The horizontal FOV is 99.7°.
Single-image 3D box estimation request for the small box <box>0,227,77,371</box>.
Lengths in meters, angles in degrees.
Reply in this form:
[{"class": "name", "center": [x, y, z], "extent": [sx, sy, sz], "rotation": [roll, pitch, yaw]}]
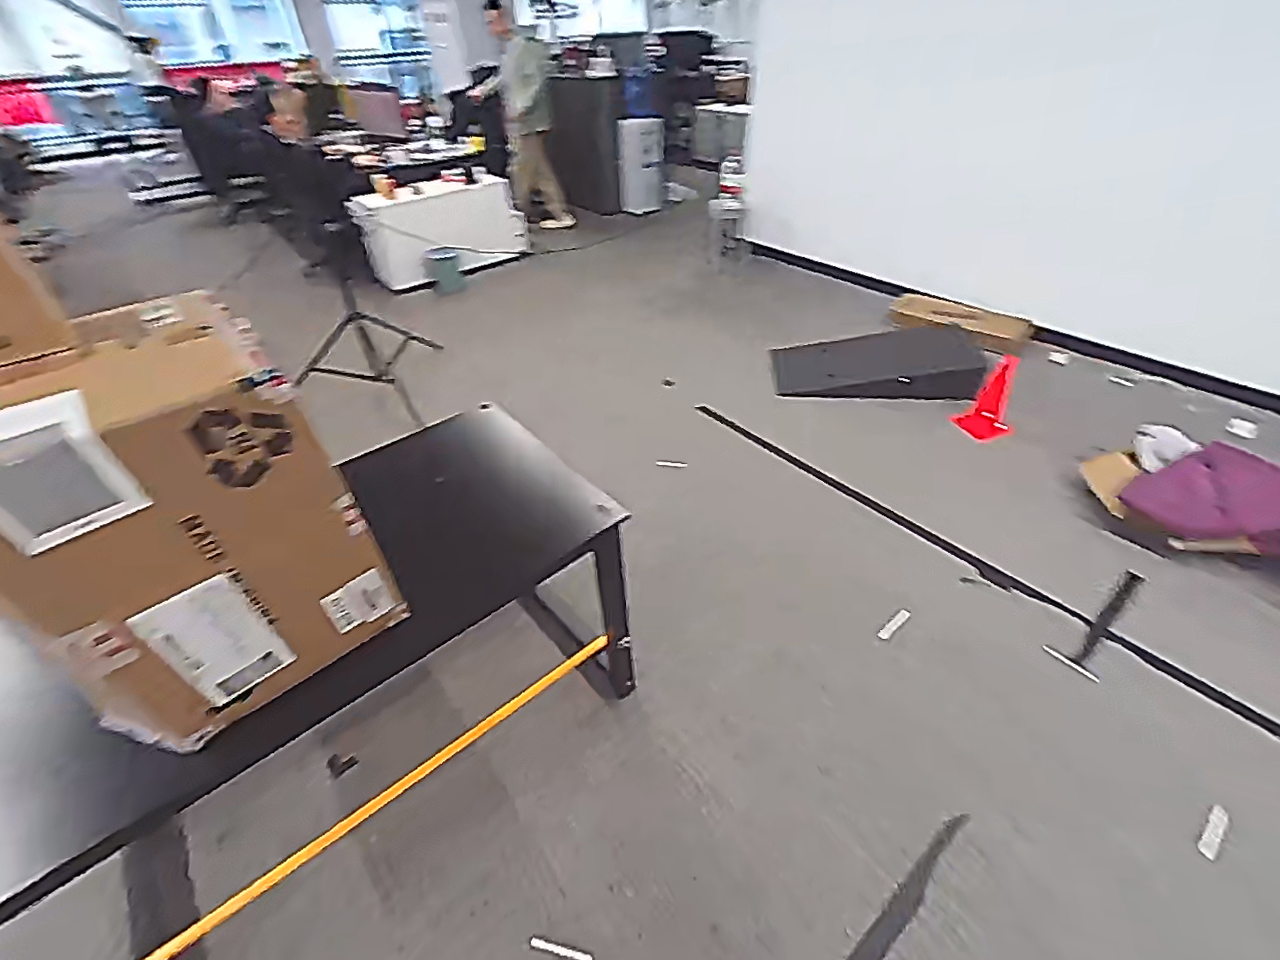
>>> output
[{"class": "small box", "center": [-0.829, -0.223, 0.638], "extent": [0.179, 0.176, 0.168], "rotation": [29, 49, 35]}]
